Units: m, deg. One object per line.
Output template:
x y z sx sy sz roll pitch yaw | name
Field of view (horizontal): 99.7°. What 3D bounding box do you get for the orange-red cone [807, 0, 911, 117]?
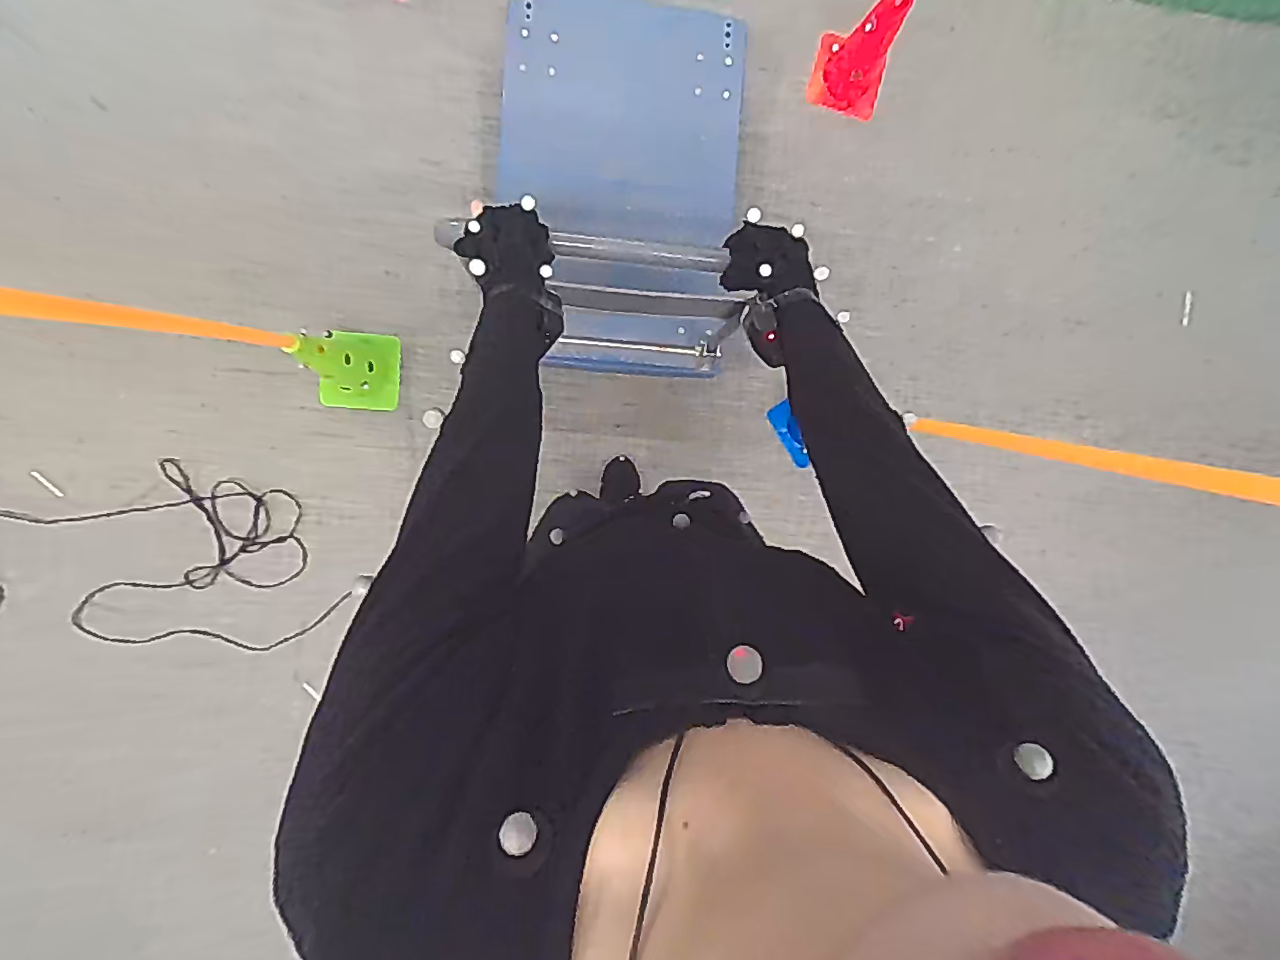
0.596 -1.131 1.348 0.198 0.360 0.199 16 91 -5 | orange-red cone
